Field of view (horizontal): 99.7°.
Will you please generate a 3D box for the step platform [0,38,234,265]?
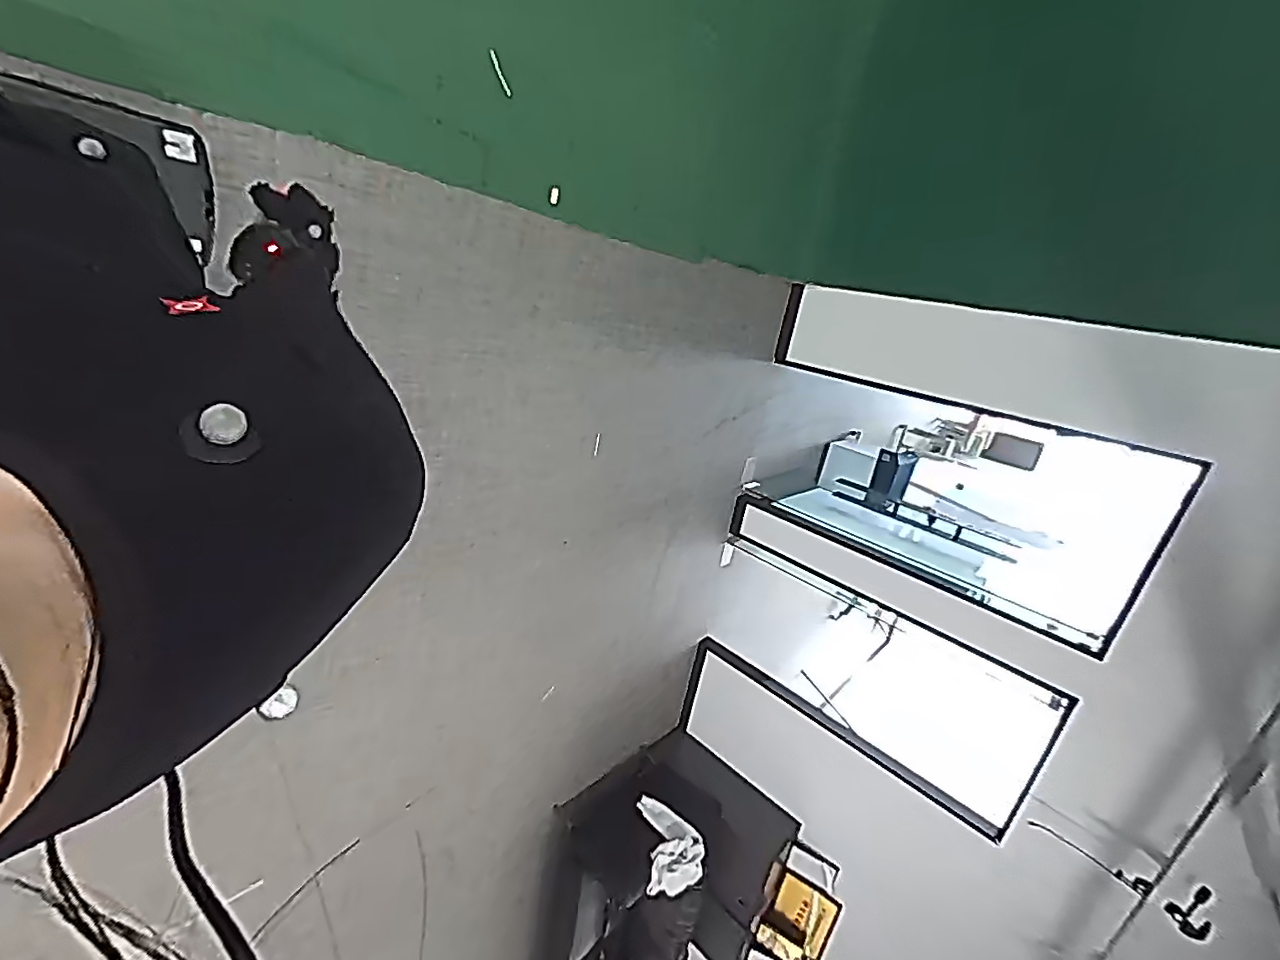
[{"bbox_3d":[-1.032,-0.525,0.790,0.684,0.204,0.286,-10,119,-47],"label":"step platform"}]
